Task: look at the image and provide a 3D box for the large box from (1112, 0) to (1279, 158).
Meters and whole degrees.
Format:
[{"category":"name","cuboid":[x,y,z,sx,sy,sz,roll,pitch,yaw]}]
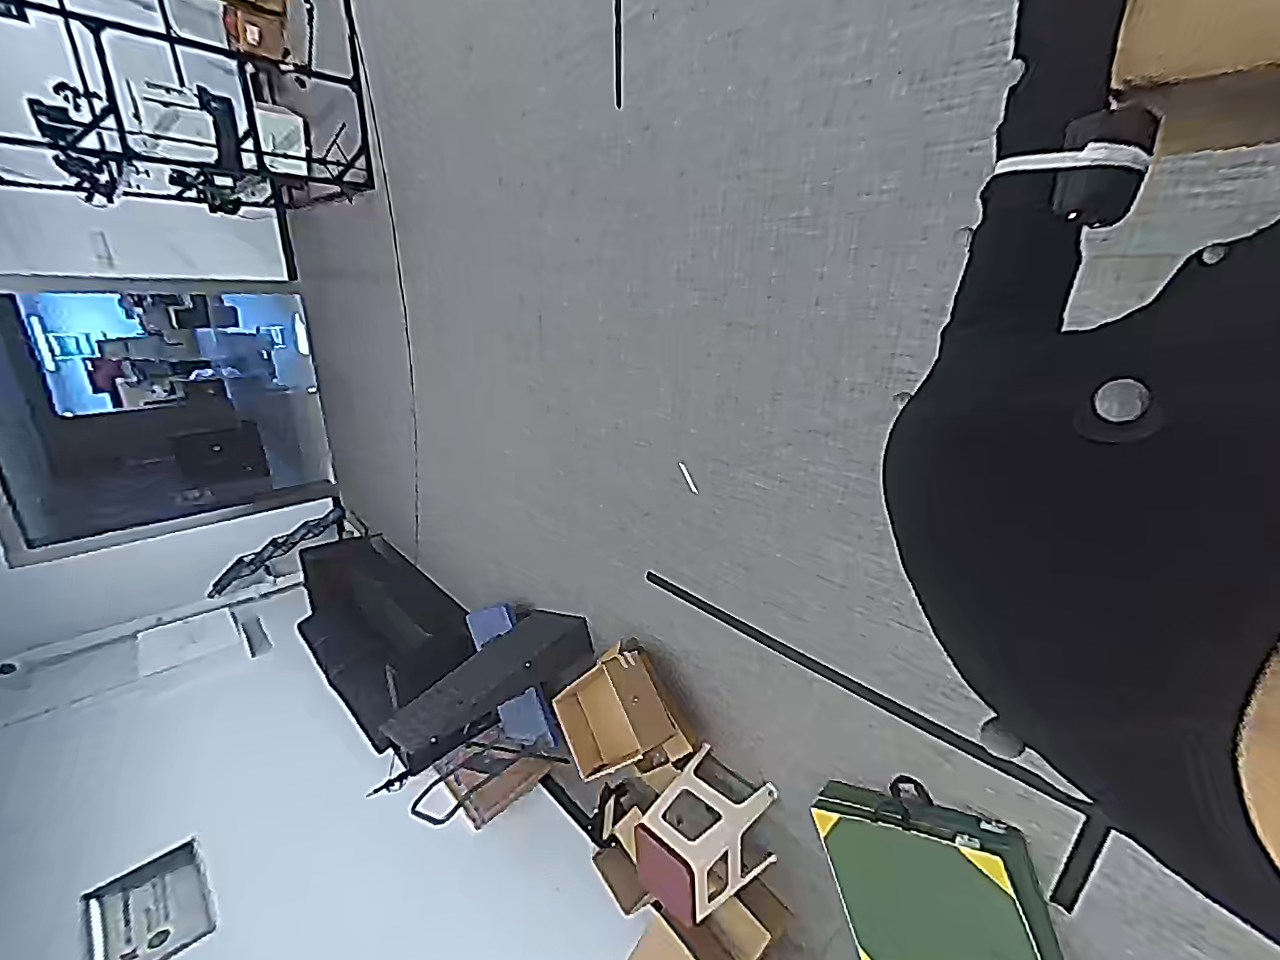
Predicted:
[{"category":"large box","cuboid":[0.558,-0.401,0.289,0.408,0.320,0.320,17,118,41]}]
